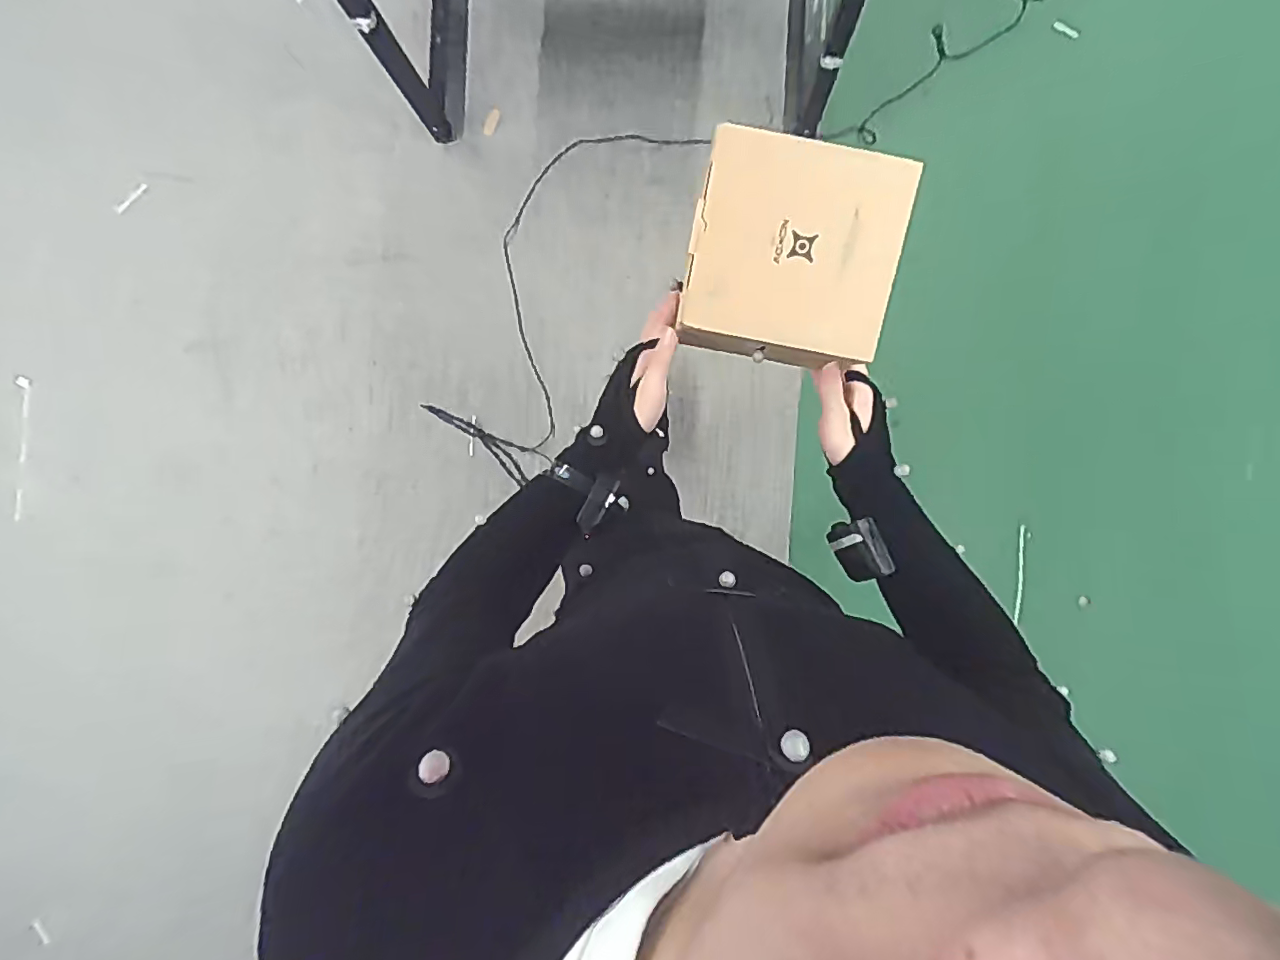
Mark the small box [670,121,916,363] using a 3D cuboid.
[{"bbox_3d":[0.129,-0.213,0.534,0.179,0.176,0.168,11,100,-1],"label":"small box"}]
